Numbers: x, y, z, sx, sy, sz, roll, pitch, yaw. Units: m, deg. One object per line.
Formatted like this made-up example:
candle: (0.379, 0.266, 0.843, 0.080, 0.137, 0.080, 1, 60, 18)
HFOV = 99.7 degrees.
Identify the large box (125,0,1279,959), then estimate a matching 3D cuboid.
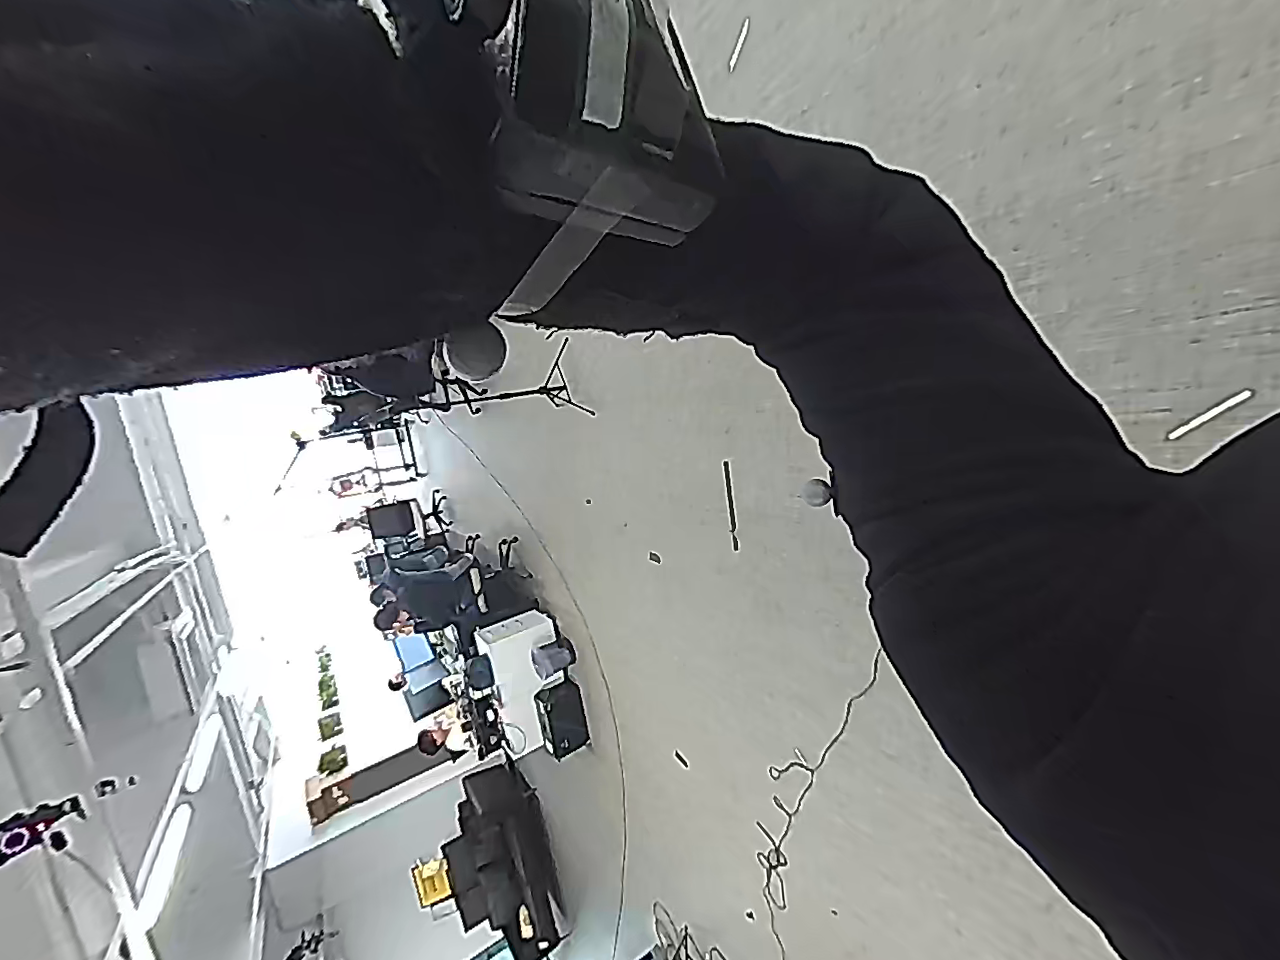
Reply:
large box: (0.120, 0.060, 0.155, 0.408, 0.320, 0.320, 15, -115, 53)
